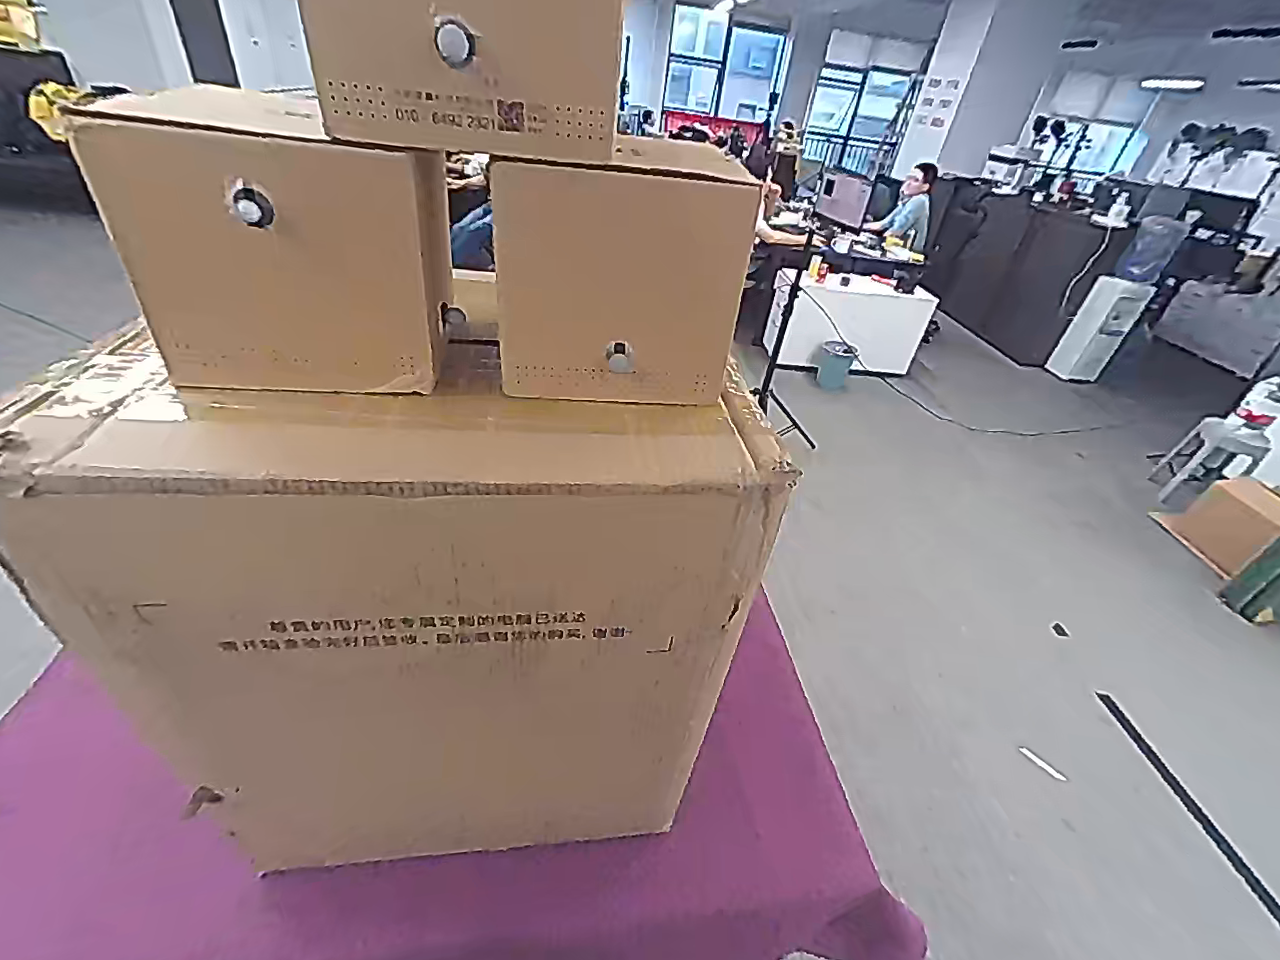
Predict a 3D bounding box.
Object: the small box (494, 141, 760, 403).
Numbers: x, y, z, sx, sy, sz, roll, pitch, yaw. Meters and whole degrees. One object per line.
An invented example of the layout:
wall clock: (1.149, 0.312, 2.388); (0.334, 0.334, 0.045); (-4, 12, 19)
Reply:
small box: (-0.020, -0.176, 0.456); (0.179, 0.176, 0.168); (1, 37, -8)

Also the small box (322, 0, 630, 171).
small box: (-0.096, -0.311, 0.343); (0.168, 0.176, 0.179); (0, 38, -9)
